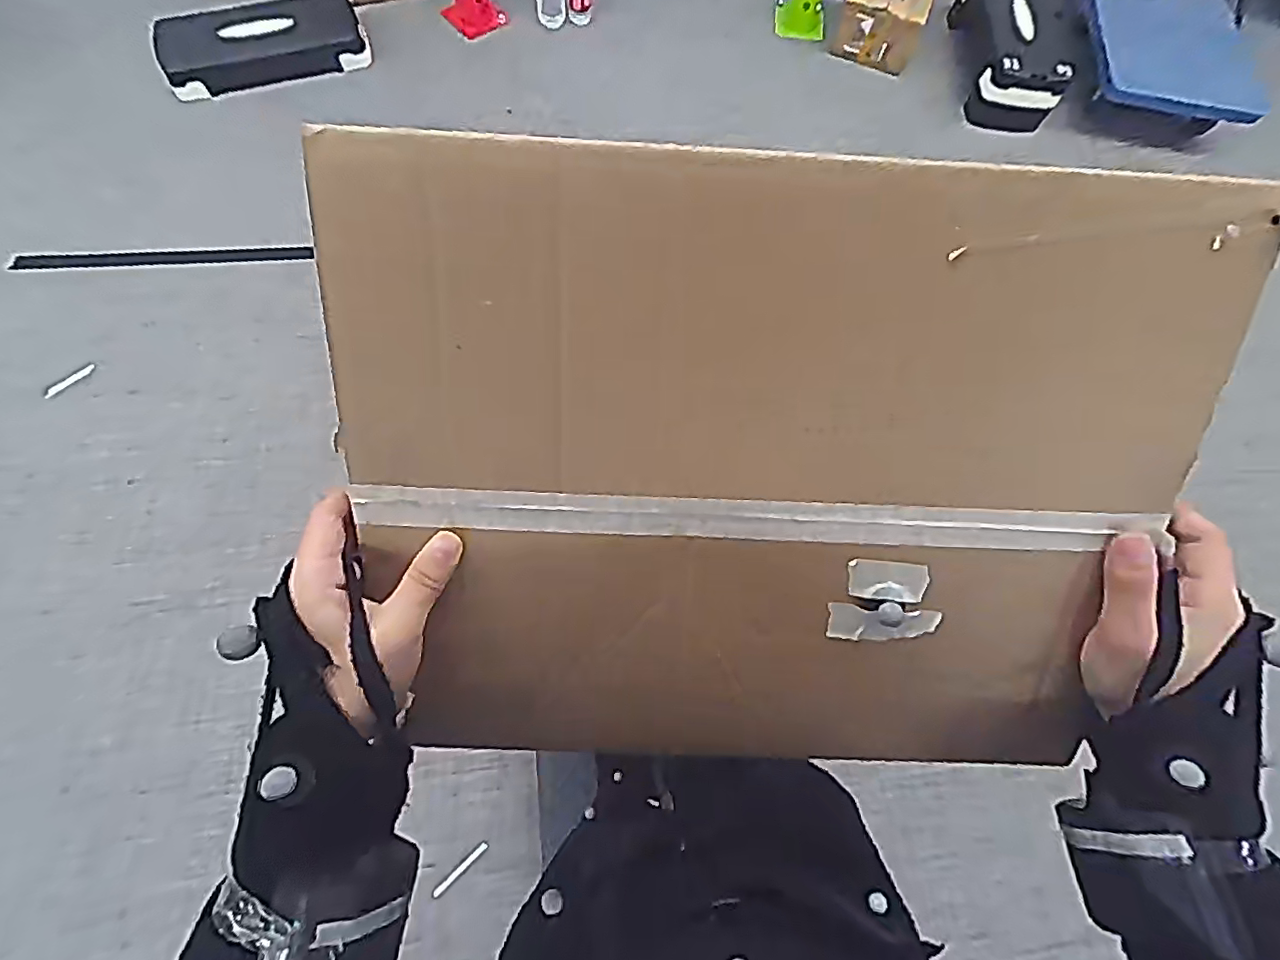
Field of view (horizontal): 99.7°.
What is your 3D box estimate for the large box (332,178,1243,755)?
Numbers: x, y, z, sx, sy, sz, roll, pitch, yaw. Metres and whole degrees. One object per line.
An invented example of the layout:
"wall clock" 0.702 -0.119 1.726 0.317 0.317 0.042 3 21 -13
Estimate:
"large box" 0.059 -0.027 0.420 0.408 0.320 0.320 2 111 -3
